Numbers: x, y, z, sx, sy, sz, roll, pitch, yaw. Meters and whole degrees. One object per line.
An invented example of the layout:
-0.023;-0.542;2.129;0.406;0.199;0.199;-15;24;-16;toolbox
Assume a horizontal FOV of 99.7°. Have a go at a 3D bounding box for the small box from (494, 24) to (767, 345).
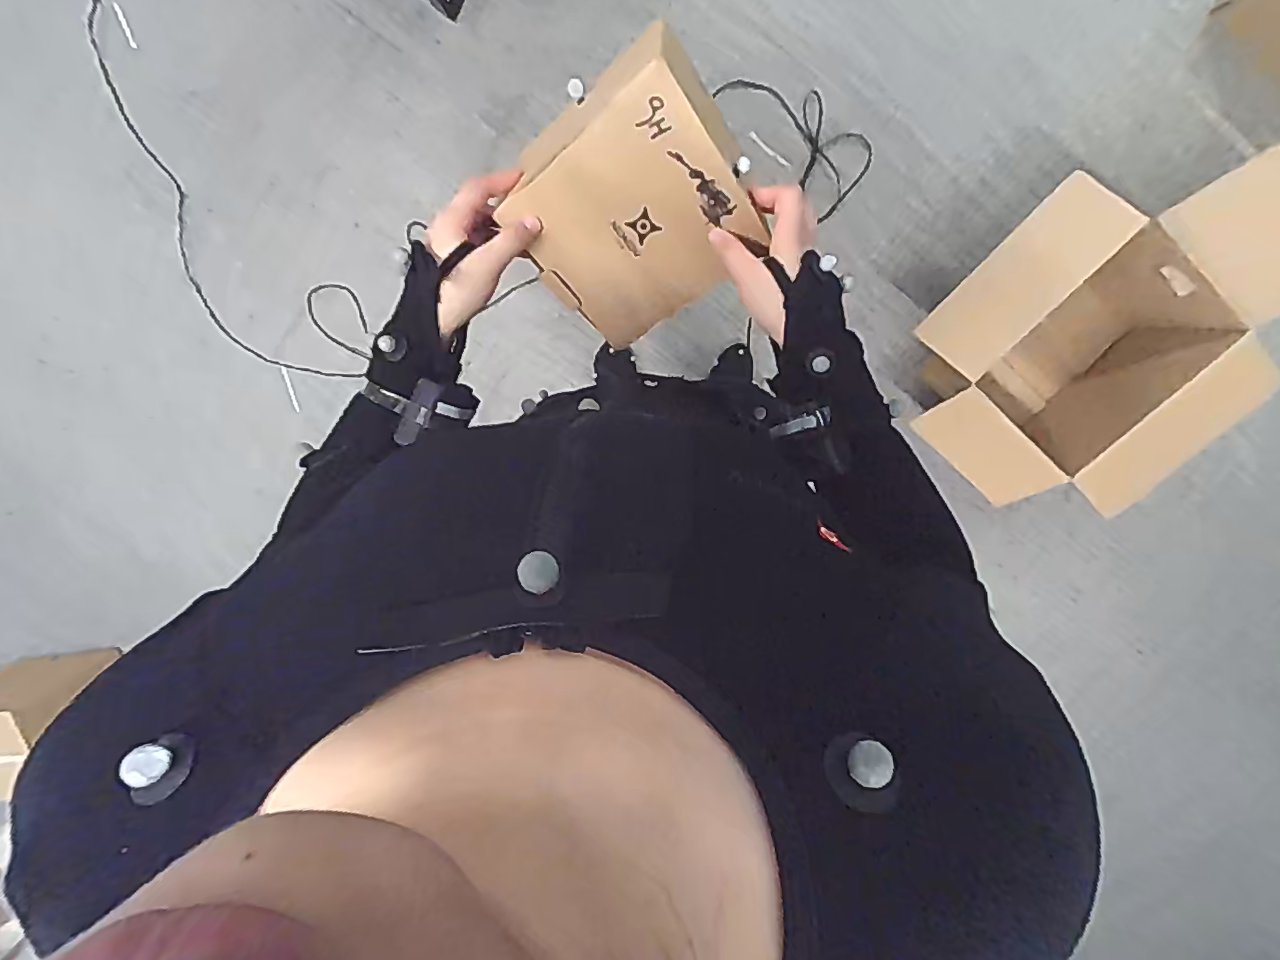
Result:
-0.002;-0.268;0.505;0.179;0.176;0.168;-27;131;29;small box
